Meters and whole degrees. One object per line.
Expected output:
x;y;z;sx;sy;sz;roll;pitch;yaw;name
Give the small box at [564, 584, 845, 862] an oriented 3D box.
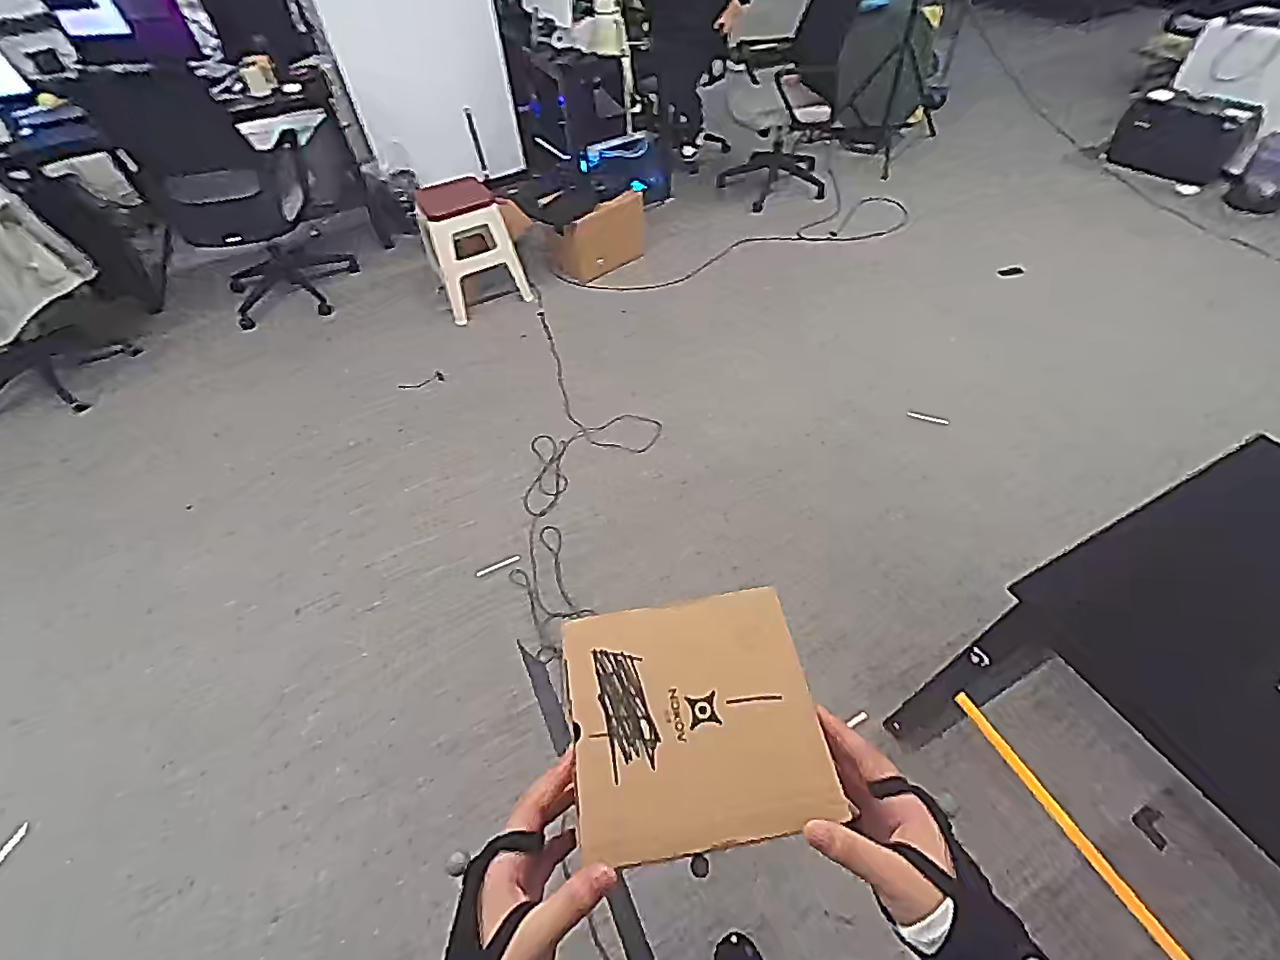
0.041;0.209;0.454;0.179;0.176;0.168;-9;55;-3;small box
